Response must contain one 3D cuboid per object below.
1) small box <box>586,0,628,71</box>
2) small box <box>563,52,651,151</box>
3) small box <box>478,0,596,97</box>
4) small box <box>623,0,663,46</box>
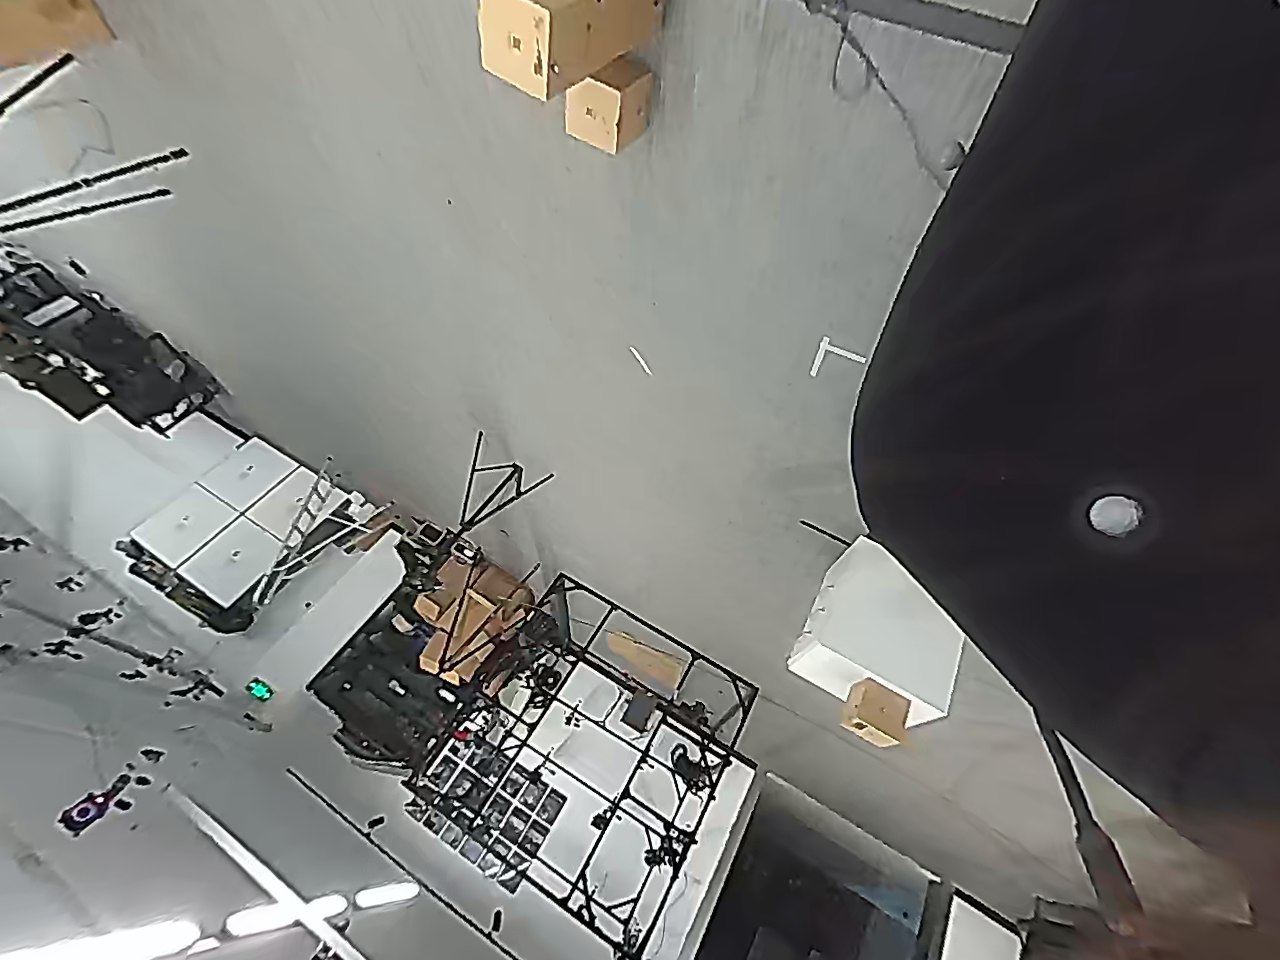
[{"bbox_3d":[-0.137,-1.079,1.222,0.168,0.176,0.179,29,150,12],"label":"small box"},{"bbox_3d":[-0.094,-1.068,1.513,0.179,0.176,0.168,30,150,9],"label":"small box"},{"bbox_3d":[-0.219,-0.961,1.142,0.179,0.176,0.168,34,150,6],"label":"small box"},{"bbox_3d":[-0.055,-1.193,1.304,0.179,0.176,0.168,28,150,13],"label":"small box"}]
